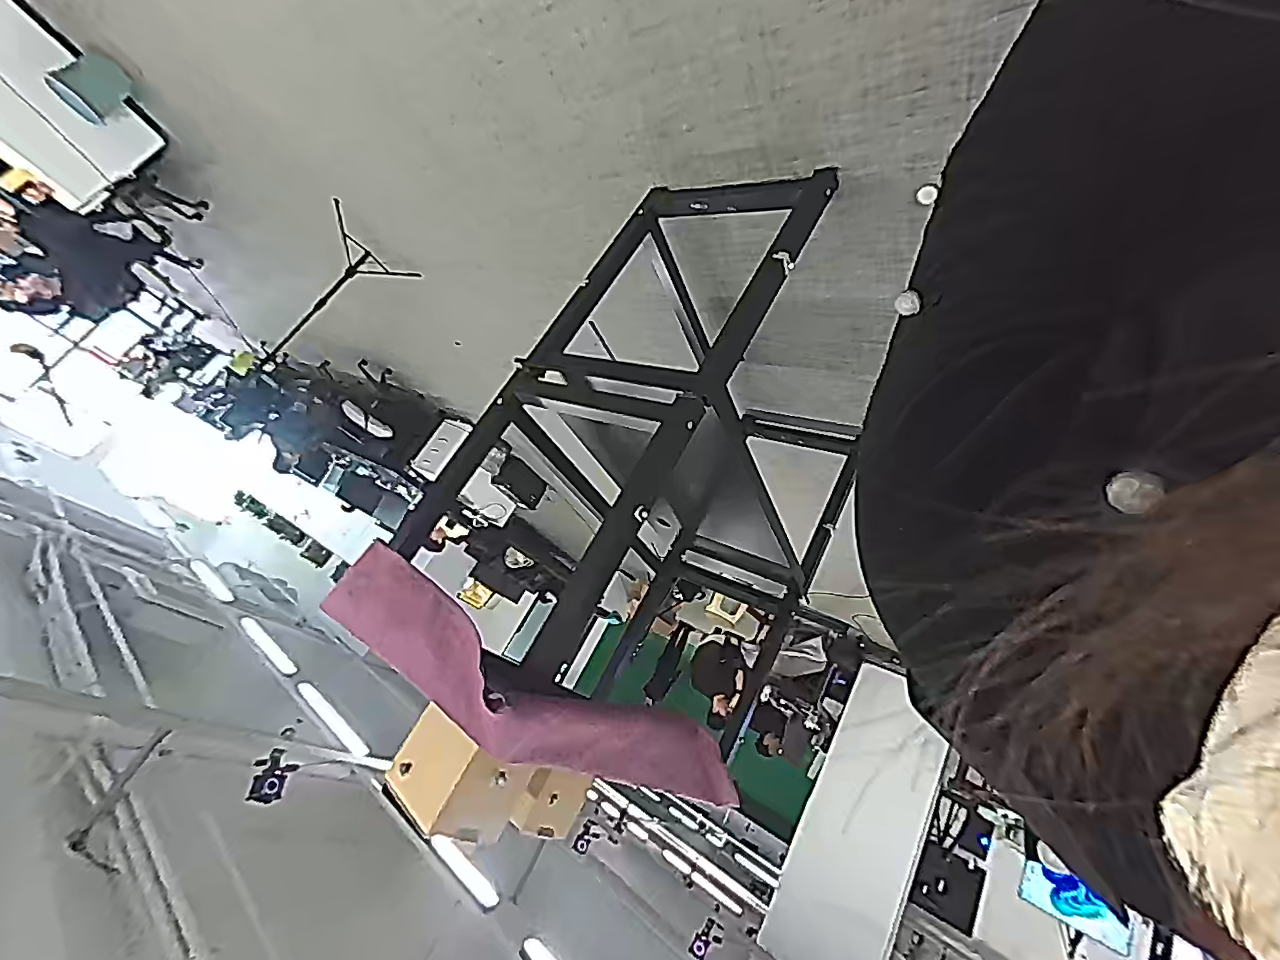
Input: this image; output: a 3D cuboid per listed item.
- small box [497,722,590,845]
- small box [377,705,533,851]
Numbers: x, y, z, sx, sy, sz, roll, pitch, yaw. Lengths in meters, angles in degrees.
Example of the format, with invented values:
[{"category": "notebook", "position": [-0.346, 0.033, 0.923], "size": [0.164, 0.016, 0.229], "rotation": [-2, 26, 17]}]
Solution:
[{"category": "small box", "position": [-0.233, 0.663, 1.192], "size": [0.179, 0.176, 0.168], "rotation": [15, 156, 39]}, {"category": "small box", "position": [-0.330, 0.531, 0.984], "size": [0.179, 0.176, 0.168], "rotation": [14, 156, 42]}]
